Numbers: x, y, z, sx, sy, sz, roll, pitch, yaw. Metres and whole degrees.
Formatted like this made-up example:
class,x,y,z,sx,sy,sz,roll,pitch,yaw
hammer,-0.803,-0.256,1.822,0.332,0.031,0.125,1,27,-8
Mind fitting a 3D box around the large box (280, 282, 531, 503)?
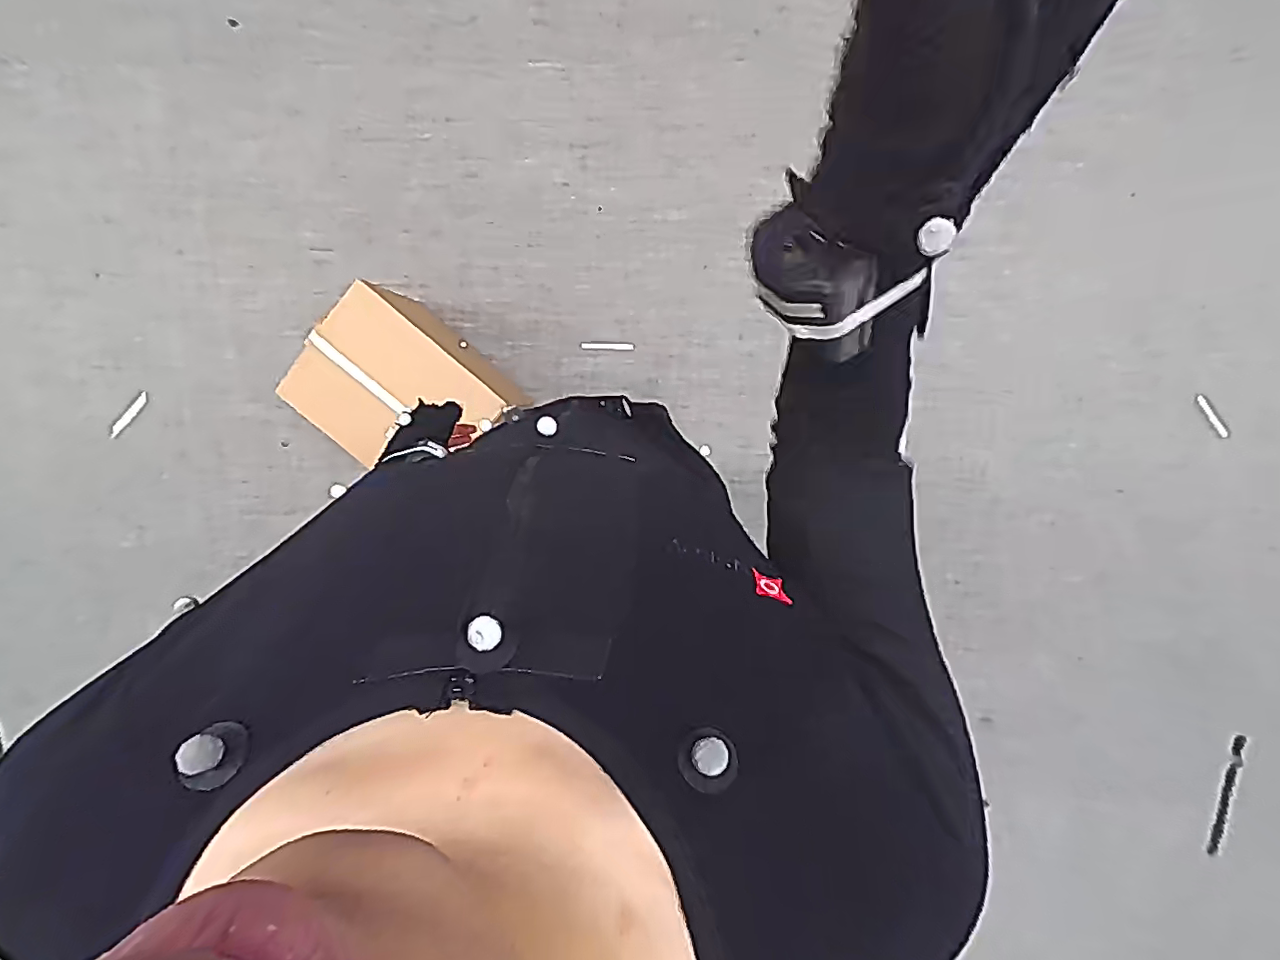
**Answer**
class,x,y,z,sx,sy,sz,roll,pitch,yaw
large box,-0.540,-0.208,1.324,0.408,0.320,0.320,40,98,-6
